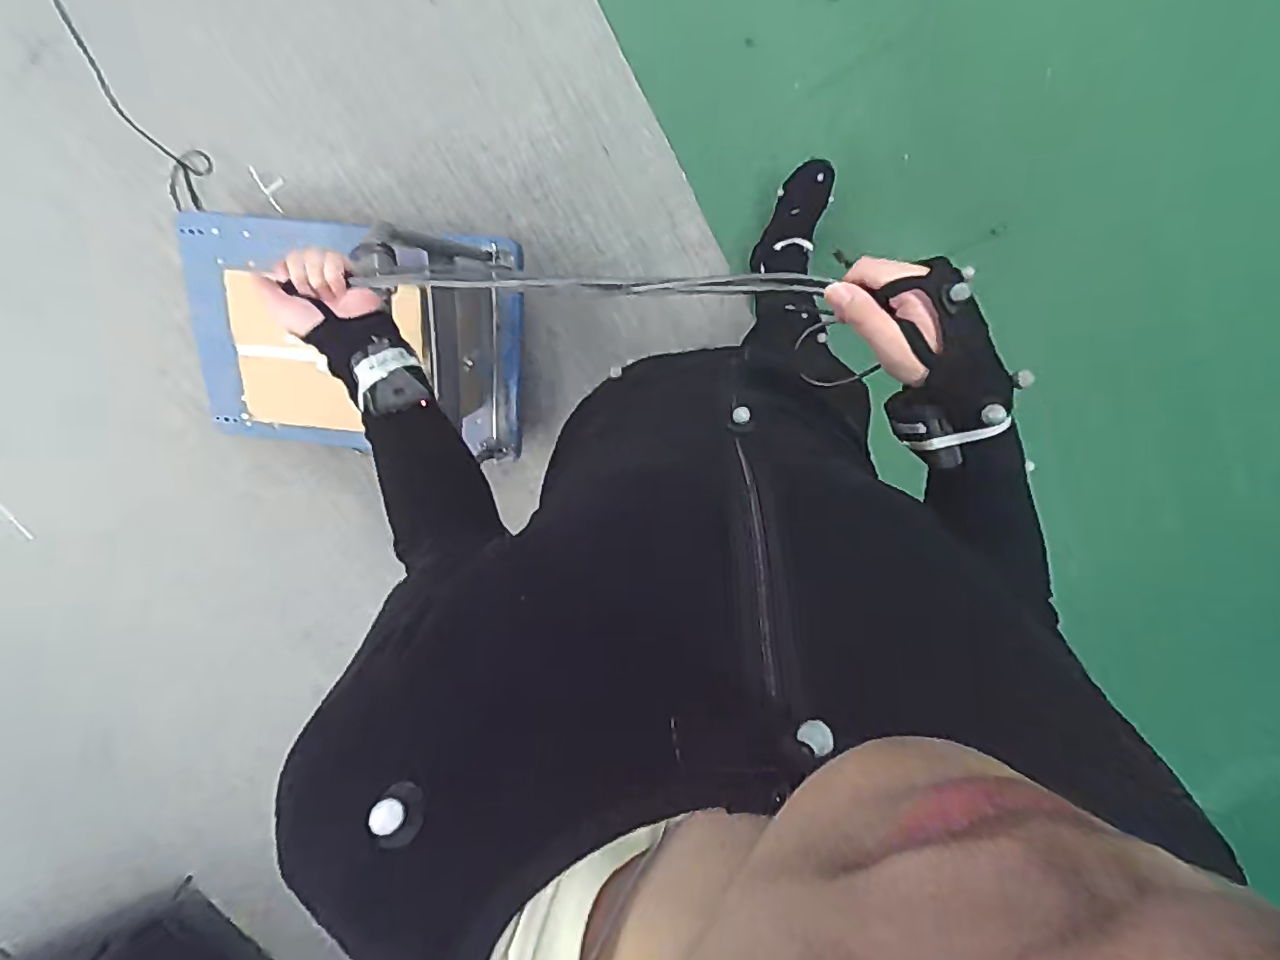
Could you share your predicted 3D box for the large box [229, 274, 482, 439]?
[{"bbox_3d":[-0.617,-0.297,1.252,0.408,0.320,0.320,6,109,4],"label":"large box"}]
